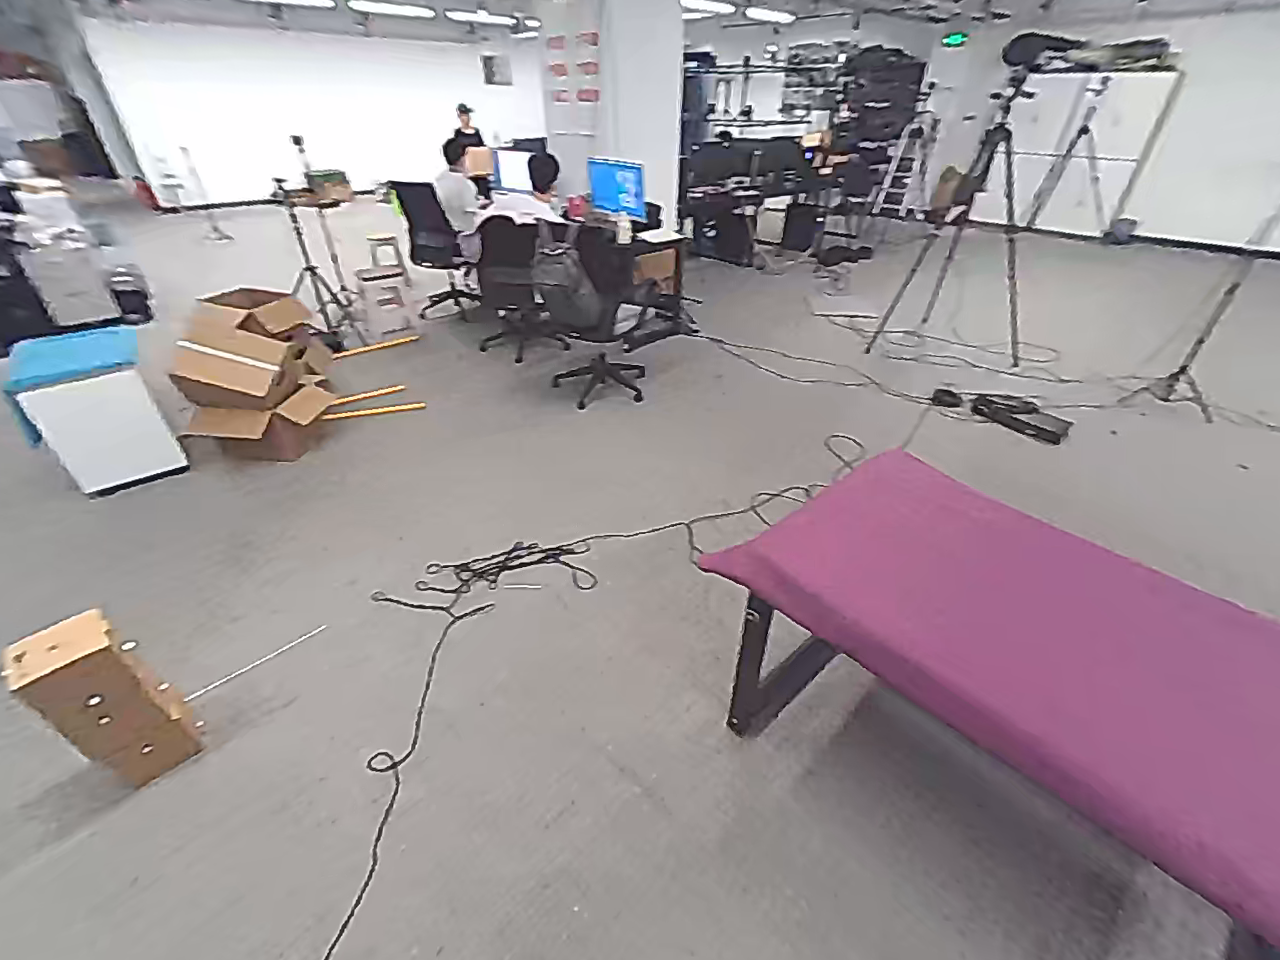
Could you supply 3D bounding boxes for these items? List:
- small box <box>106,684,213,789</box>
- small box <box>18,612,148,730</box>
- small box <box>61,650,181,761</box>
[{"bbox_3d":[-1.364,0.728,1.533,0.179,0.176,0.168,-29,44,-34],"label":"small box"},{"bbox_3d":[-1.362,0.469,1.333,0.168,0.176,0.179,29,44,35],"label":"small box"},{"bbox_3d":[-1.374,0.598,1.433,0.179,0.176,0.168,-29,45,-34],"label":"small box"}]
